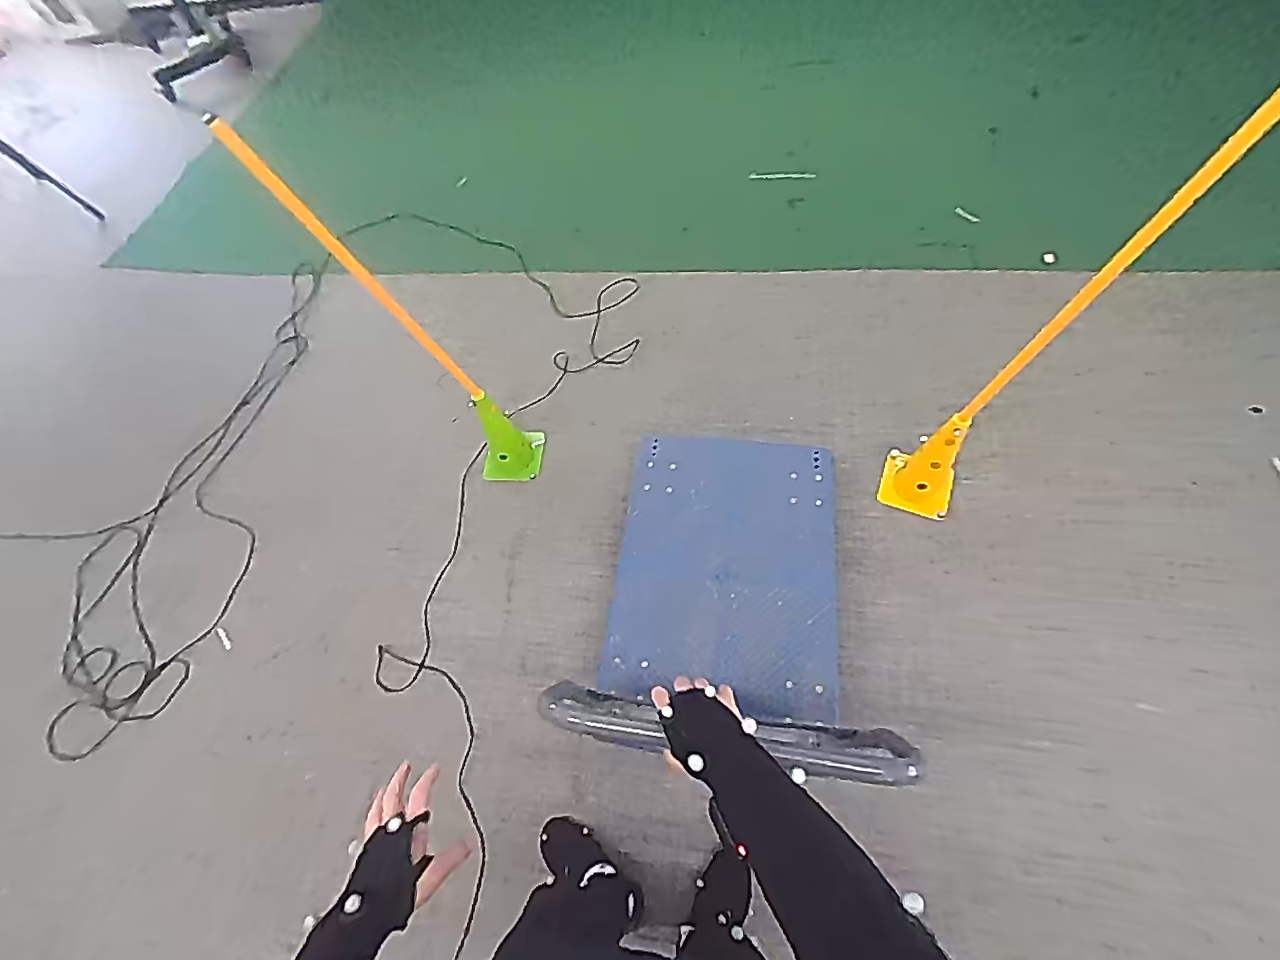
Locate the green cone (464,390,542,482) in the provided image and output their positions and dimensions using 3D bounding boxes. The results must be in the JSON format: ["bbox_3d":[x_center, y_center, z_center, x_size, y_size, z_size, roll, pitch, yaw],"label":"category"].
[{"bbox_3d":[-0.473,-0.168,1.752,0.202,0.368,0.200,-1,60,8],"label":"green cone"}]
